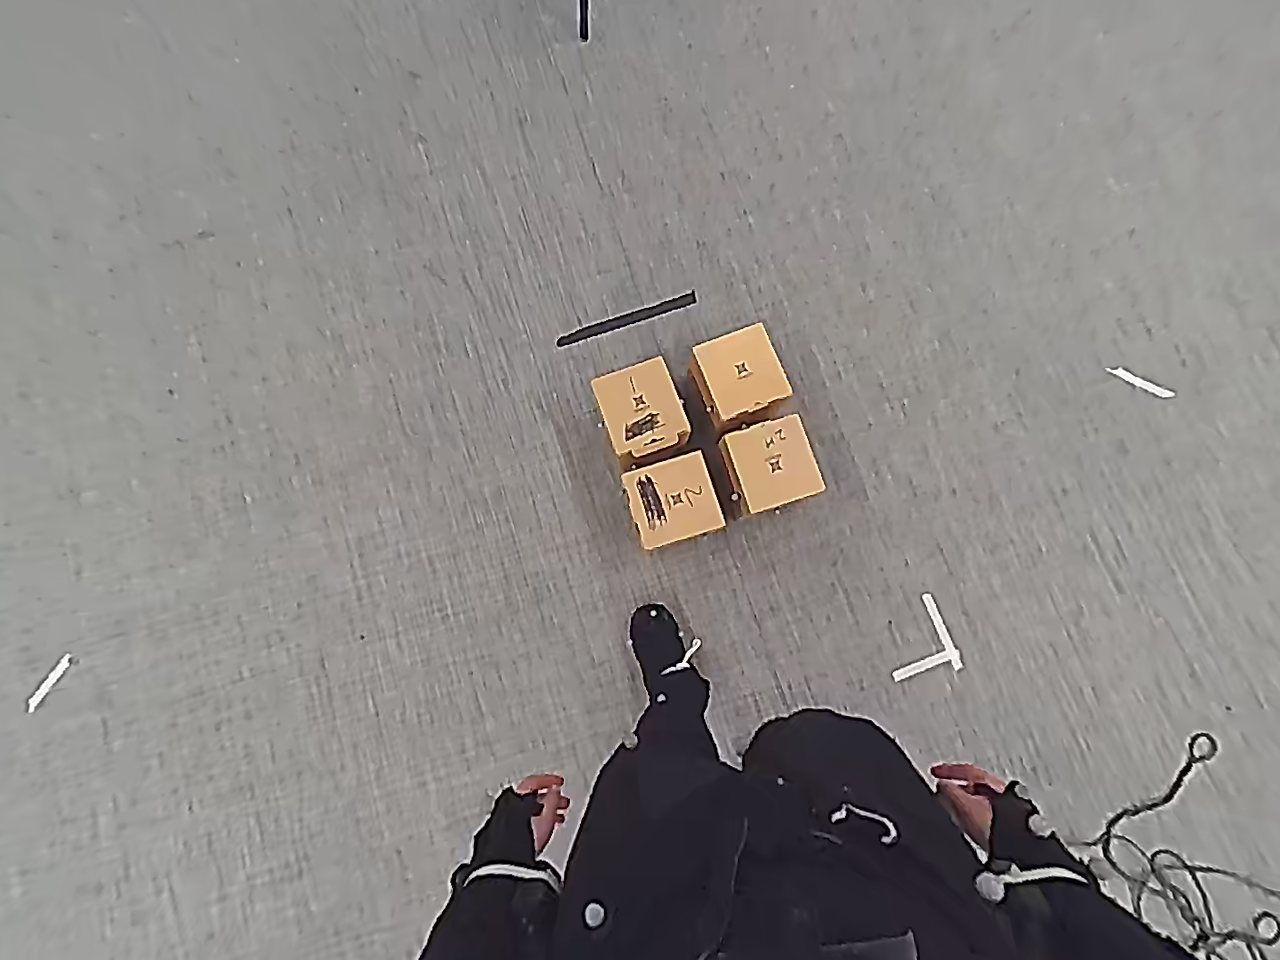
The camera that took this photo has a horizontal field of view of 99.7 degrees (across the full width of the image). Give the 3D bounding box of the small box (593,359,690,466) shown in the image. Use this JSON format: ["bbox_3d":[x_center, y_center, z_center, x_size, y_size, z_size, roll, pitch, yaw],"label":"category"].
[{"bbox_3d":[0.005,-0.140,1.208,0.168,0.176,0.179,-19,79,-4],"label":"small box"}]
